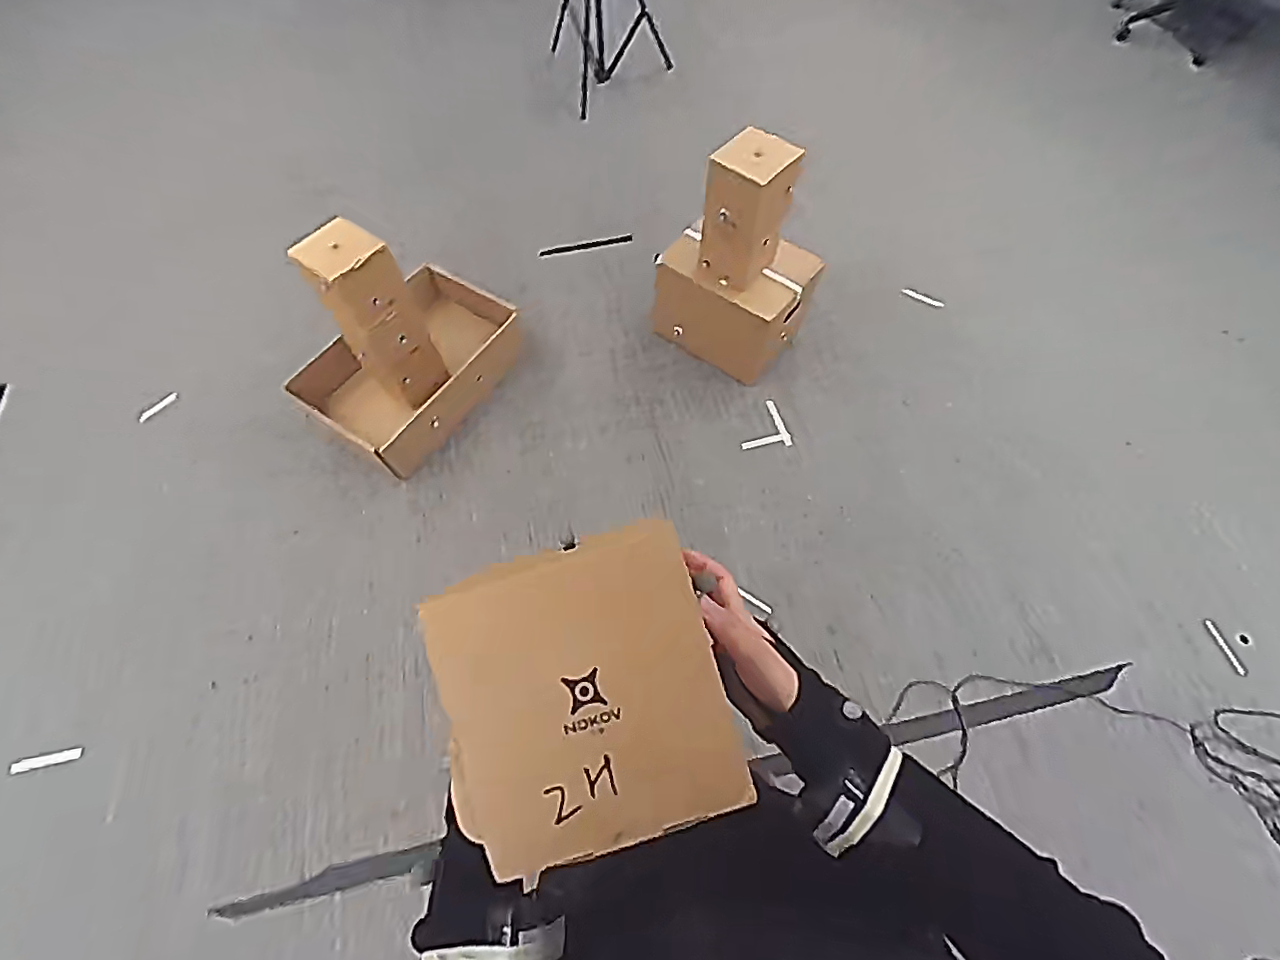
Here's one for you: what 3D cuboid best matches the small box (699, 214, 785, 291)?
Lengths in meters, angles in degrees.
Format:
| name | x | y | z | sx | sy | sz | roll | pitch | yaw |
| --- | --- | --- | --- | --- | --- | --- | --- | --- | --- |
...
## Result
| name | x | y | z | sx | sy | sz | roll | pitch | yaw |
| --- | --- | --- | --- | --- | --- | --- | --- | --- | --- |
| small box | 0.282 | -0.673 | 1.534 | 0.168 | 0.176 | 0.179 | 35 | 67 | 16 |

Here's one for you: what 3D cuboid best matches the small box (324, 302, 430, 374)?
| name | x | y | z | sx | sy | sz | roll | pitch | yaw |
| --- | --- | --- | --- | --- | --- | --- | --- | --- | --- |
| small box | -0.724 | -0.424 | 1.513 | 0.179 | 0.176 | 0.168 | 34 | 67 | 16 |

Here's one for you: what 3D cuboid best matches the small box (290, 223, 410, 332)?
| name | x | y | z | sx | sy | sz | roll | pitch | yaw |
| --- | --- | --- | --- | --- | --- | --- | --- | --- | --- |
| small box | -0.727 | -0.509 | 1.373 | 0.179 | 0.176 | 0.168 | 33 | 66 | 16 |

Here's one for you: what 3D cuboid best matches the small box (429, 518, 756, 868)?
| name | x | y | z | sx | sy | sz | roll | pitch | yaw |
| --- | --- | --- | --- | --- | --- | --- | --- | --- | --- |
| small box | -0.031 | 0.132 | 0.407 | 0.168 | 0.176 | 0.179 | -16 | 88 | -1 |

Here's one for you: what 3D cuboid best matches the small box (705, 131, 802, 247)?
| name | x | y | z | sx | sy | sz | roll | pitch | yaw |
| --- | --- | --- | --- | --- | --- | --- | --- | --- | --- |
| small box | 0.282 | -0.742 | 1.386 | 0.168 | 0.176 | 0.179 | 37 | 69 | 17 |
